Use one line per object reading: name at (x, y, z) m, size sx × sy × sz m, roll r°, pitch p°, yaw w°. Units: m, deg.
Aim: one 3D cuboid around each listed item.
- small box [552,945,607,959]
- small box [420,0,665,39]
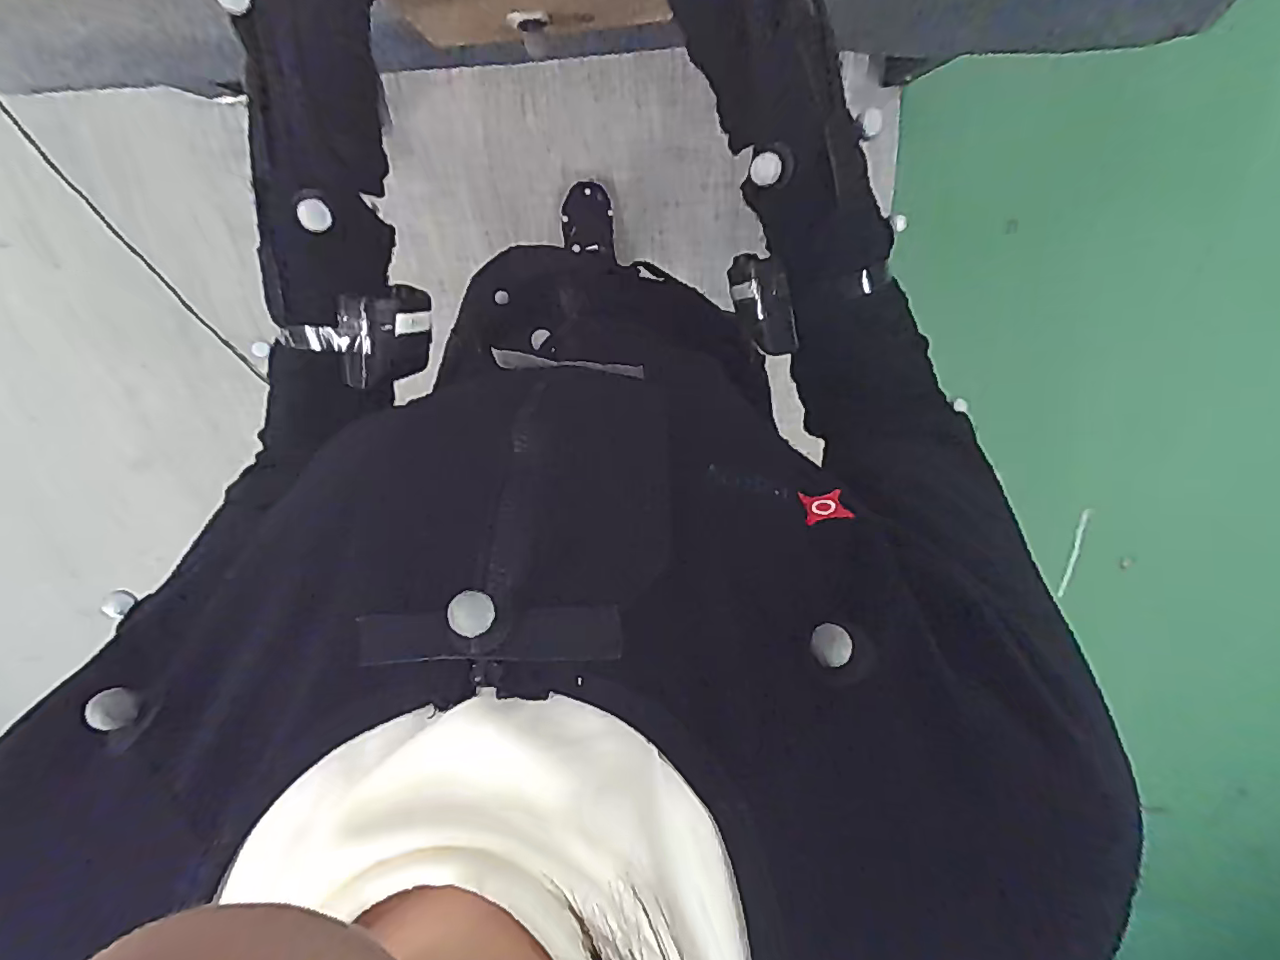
small box at (-0.182, 1.598, 1.684) m, size 0.168 × 0.176 × 0.179 m, roll -12°, pitch 116°, yaw 3°
small box at (-0.067, -0.362, 0.271) m, size 0.168 × 0.176 × 0.179 m, roll -6°, pitch 116°, yaw 2°
